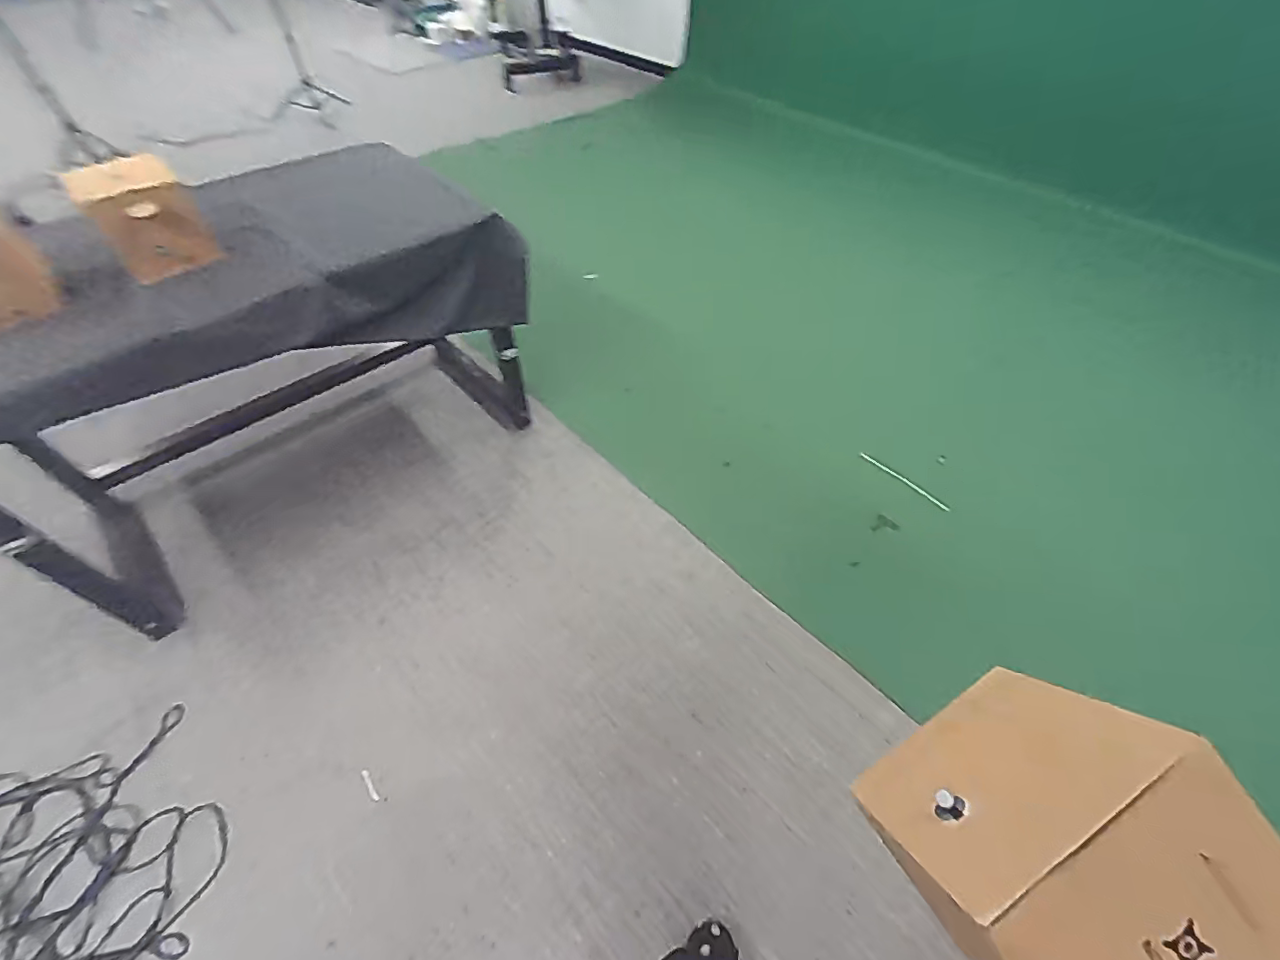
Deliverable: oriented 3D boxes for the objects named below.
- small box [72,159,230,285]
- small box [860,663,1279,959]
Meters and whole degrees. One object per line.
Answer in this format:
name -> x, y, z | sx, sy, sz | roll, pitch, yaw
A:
small box -> -1.005, -0.535, 1.123 | 0.168, 0.176, 0.179 | -35, 59, -26
small box -> 0.289, 0.263, 0.388 | 0.179, 0.176, 0.168 | -36, 89, -8
